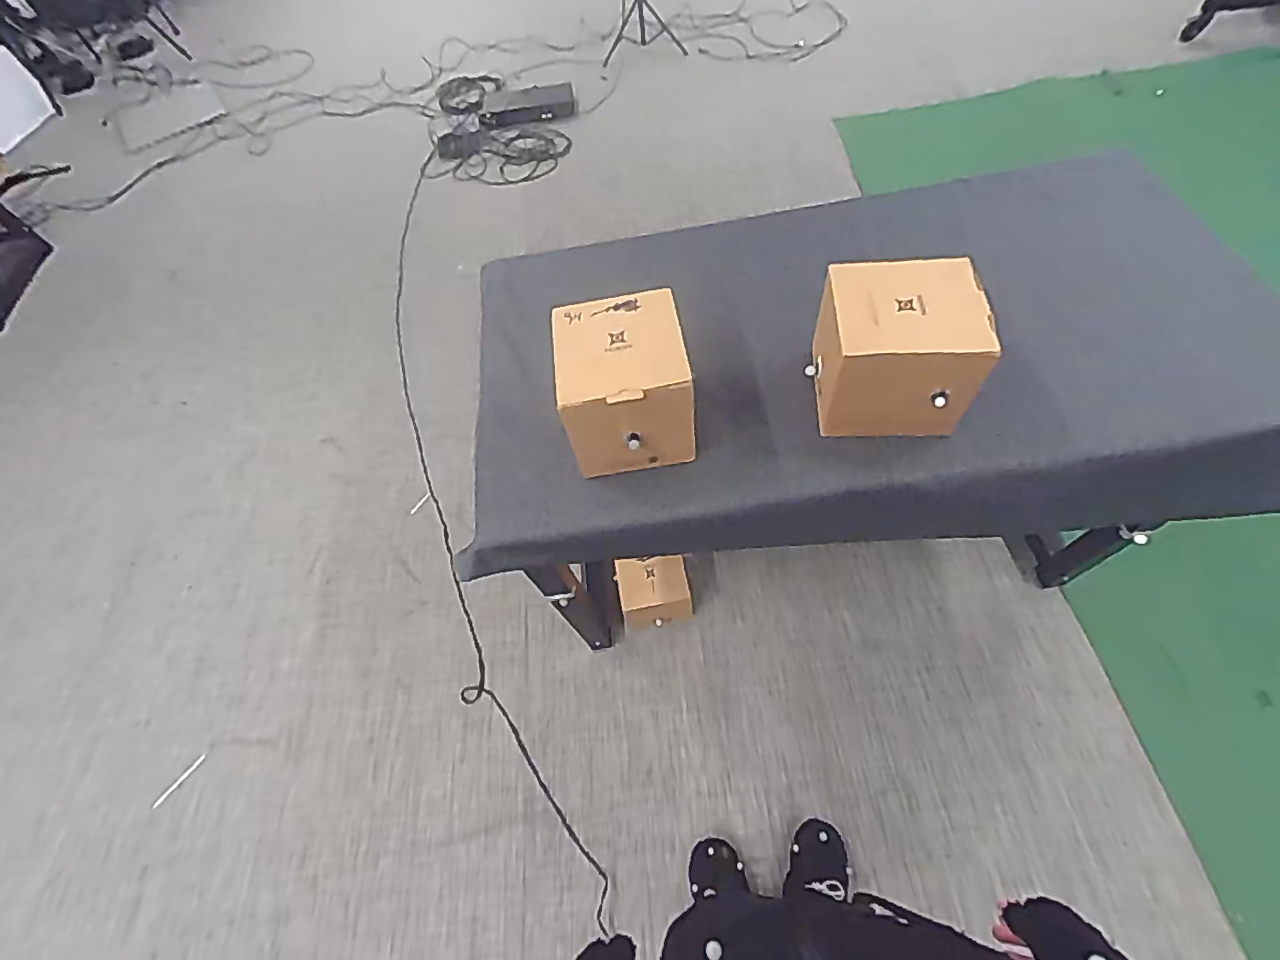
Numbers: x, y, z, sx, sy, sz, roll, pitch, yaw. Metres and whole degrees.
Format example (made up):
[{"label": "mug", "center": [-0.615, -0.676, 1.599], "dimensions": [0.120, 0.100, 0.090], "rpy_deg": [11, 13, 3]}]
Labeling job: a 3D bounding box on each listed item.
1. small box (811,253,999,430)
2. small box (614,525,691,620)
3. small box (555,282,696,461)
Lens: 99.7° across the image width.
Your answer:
[{"label": "small box", "center": [0.340, -0.180, 0.735], "dimensions": [0.179, 0.176, 0.168], "rpy_deg": [-1, 59, 8]}, {"label": "small box", "center": [0.034, 0.239, 1.378], "dimensions": [0.168, 0.176, 0.179], "rpy_deg": [-11, 61, 1]}, {"label": "small box", "center": [-0.017, -0.140, 0.754], "dimensions": [0.168, 0.176, 0.179], "rpy_deg": [-9, 59, 1]}]
